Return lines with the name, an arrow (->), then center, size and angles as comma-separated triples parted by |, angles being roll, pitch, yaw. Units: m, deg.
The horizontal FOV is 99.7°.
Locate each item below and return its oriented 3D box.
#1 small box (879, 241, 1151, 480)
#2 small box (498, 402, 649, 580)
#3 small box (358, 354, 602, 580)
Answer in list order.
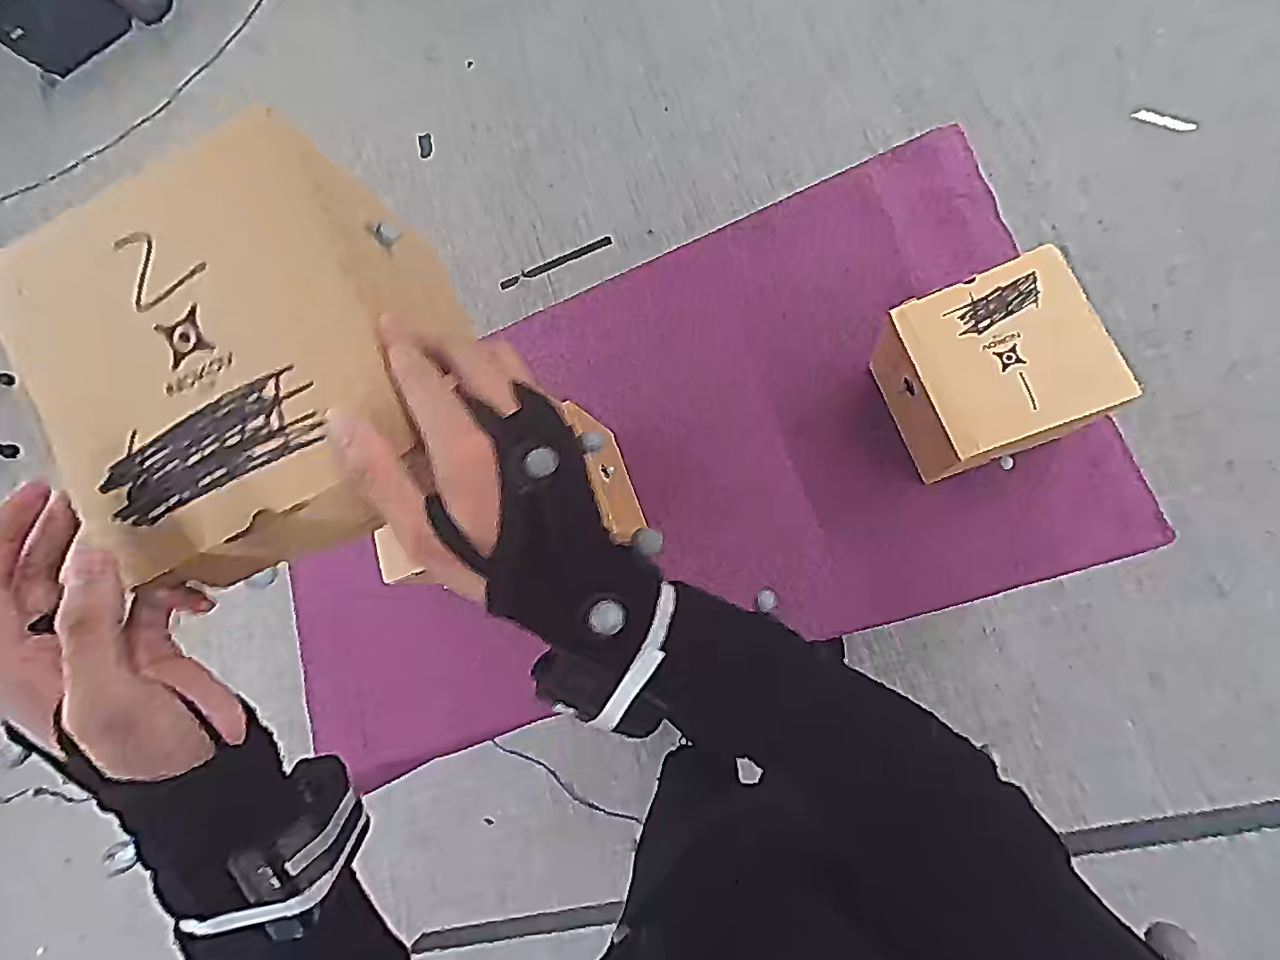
small box -> 0.386, -0.116, 0.601 | 0.168, 0.176, 0.179 | -22, 76, 13
small box -> -0.103, 0.024, 0.728 | 0.168, 0.176, 0.179 | -23, 75, 11
small box -> -0.159, 0.001, 0.574 | 0.168, 0.176, 0.179 | -21, 76, 12
